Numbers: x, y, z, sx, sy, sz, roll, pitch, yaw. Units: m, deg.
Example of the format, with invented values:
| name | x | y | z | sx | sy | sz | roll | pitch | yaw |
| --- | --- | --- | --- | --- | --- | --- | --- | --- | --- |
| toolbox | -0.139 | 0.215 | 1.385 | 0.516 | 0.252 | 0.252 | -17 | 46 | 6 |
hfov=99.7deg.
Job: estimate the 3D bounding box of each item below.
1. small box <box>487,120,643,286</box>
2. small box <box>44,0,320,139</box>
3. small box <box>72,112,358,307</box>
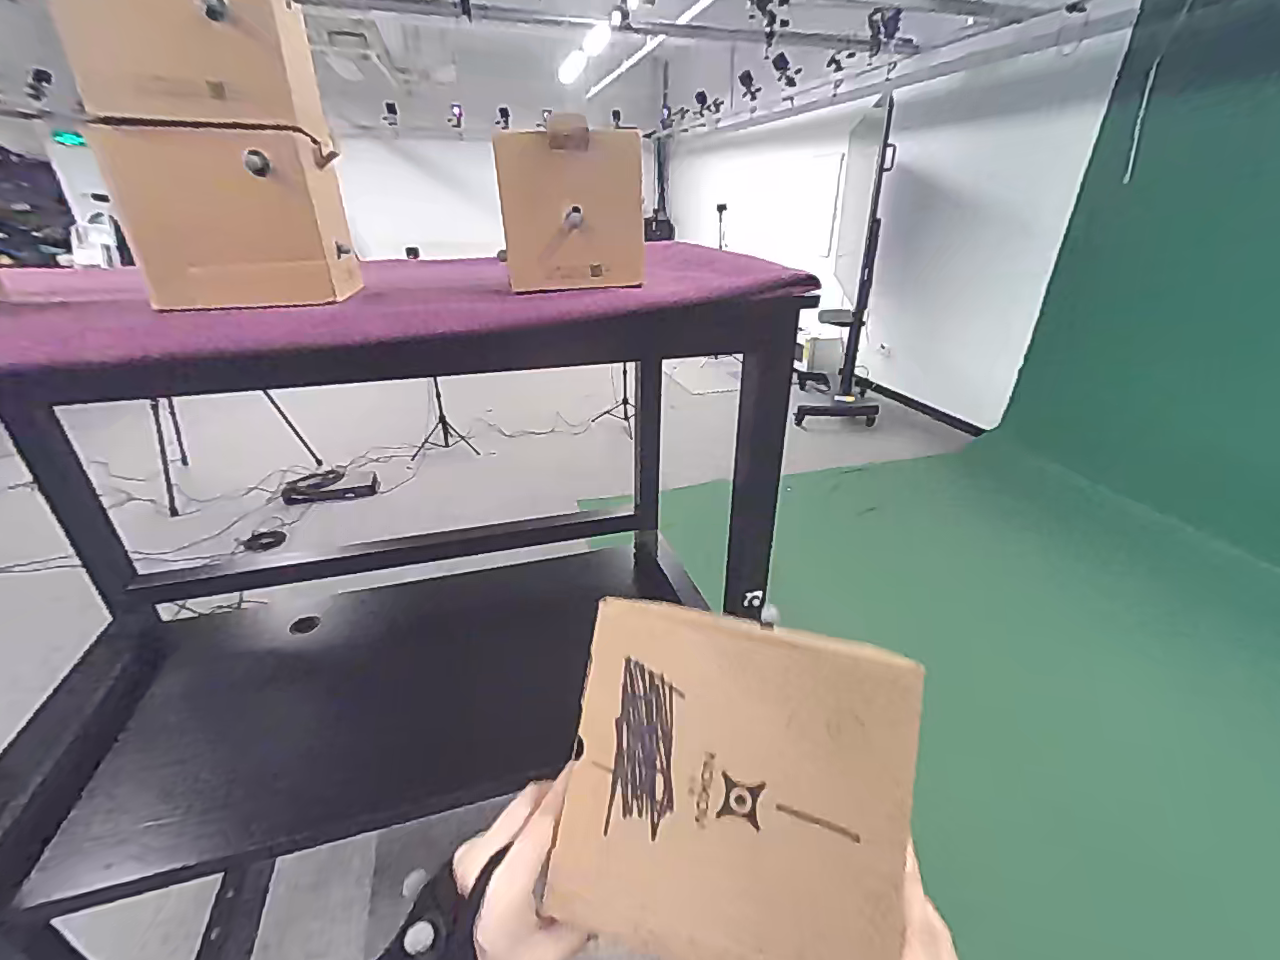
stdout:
| name | x | y | z | sx | sy | sz | roll | pitch | yaw |
| --- | --- | --- | --- | --- | --- | --- | --- | --- | --- |
| small box | -0.091 | -0.343 | 0.688 | 0.168 | 0.176 | 0.179 | -6 | 26 | -8 |
| small box | -0.432 | -0.435 | 0.526 | 0.168 | 0.176 | 0.179 | -7 | 25 | -18 |
| small box | -0.437 | -0.288 | 0.596 | 0.179 | 0.176 | 0.168 | -8 | 27 | -15 |
